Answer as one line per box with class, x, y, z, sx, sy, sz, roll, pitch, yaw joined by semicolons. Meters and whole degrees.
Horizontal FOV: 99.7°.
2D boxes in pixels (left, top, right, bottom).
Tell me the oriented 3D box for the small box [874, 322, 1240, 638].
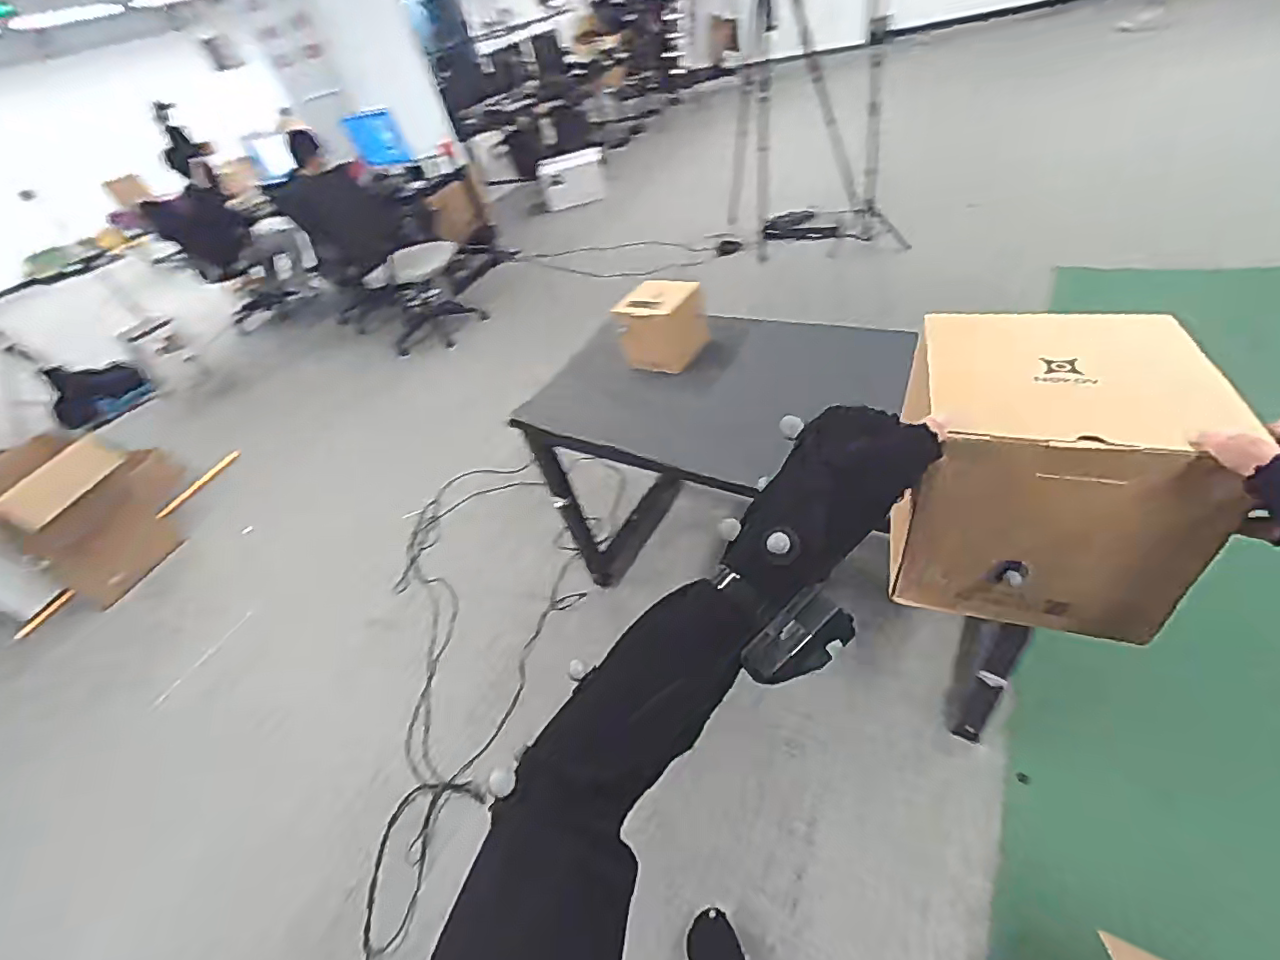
small box;0.283;-0.008;0.425;0.168;0.176;0.179;6;42;19
